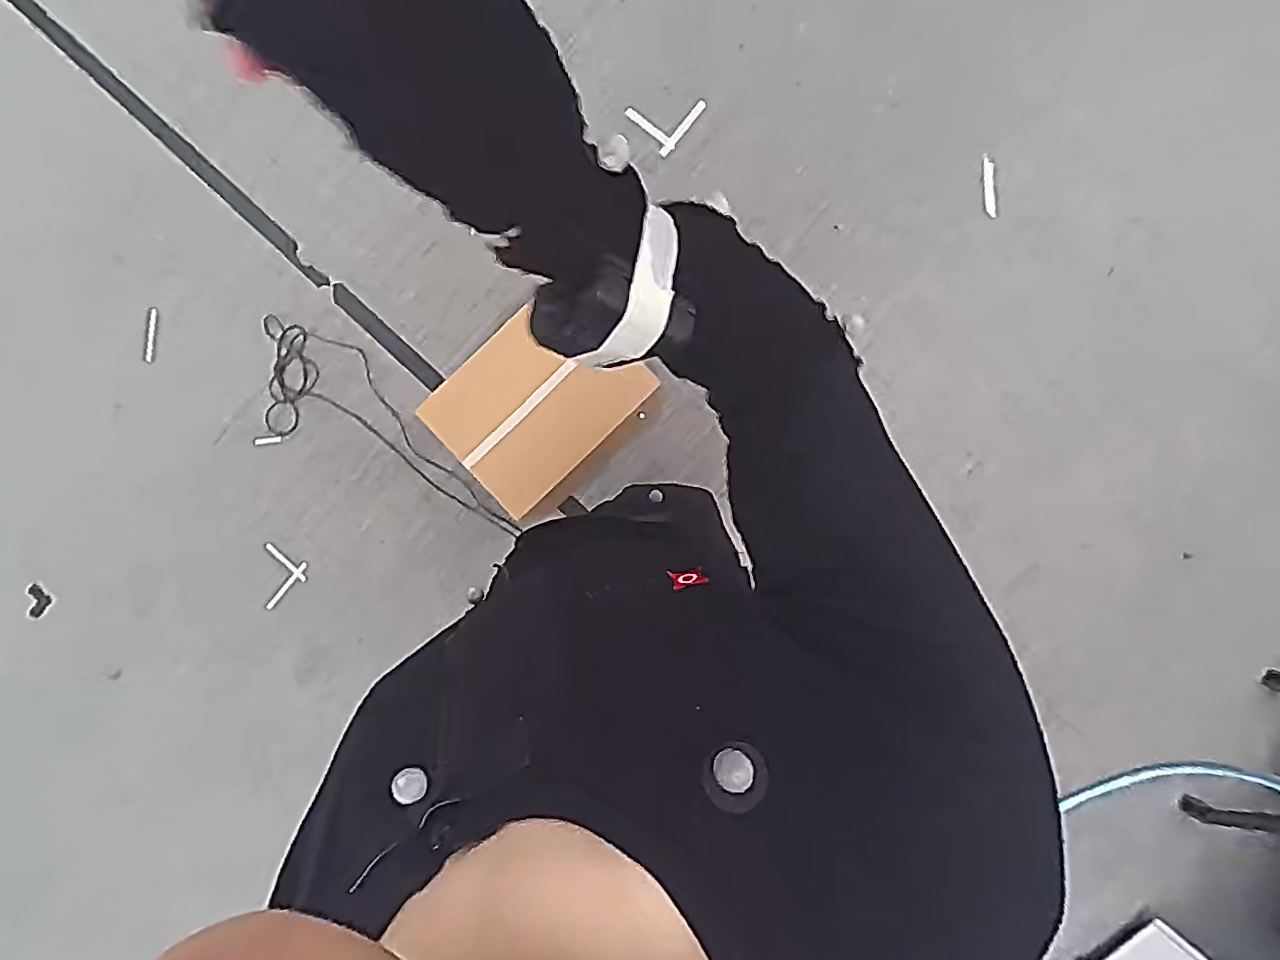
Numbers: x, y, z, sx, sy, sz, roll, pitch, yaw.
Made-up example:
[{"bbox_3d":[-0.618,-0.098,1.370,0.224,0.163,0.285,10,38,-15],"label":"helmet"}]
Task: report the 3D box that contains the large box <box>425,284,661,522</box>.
[{"bbox_3d":[-0.195,-0.156,1.250,0.408,0.320,0.320,-44,86,0],"label":"large box"}]
